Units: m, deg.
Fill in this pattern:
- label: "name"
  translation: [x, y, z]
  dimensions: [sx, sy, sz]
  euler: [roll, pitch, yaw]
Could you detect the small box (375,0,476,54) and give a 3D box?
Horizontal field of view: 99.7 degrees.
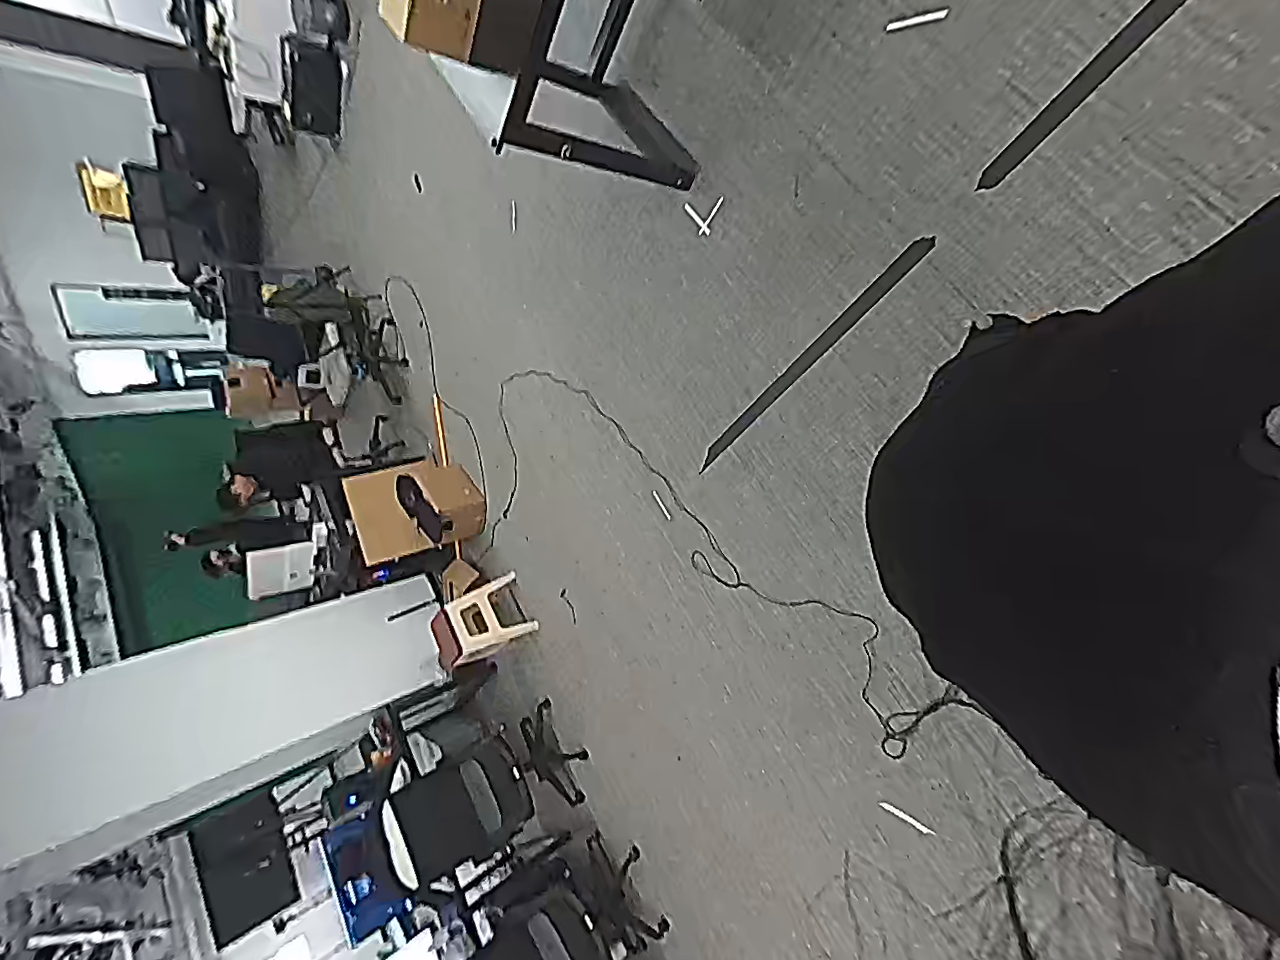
- label: "small box"
  translation: [-0.516, -1.174, 1.305]
  dimensions: [0.179, 0.176, 0.168]
  euler: [56, 134, 22]
